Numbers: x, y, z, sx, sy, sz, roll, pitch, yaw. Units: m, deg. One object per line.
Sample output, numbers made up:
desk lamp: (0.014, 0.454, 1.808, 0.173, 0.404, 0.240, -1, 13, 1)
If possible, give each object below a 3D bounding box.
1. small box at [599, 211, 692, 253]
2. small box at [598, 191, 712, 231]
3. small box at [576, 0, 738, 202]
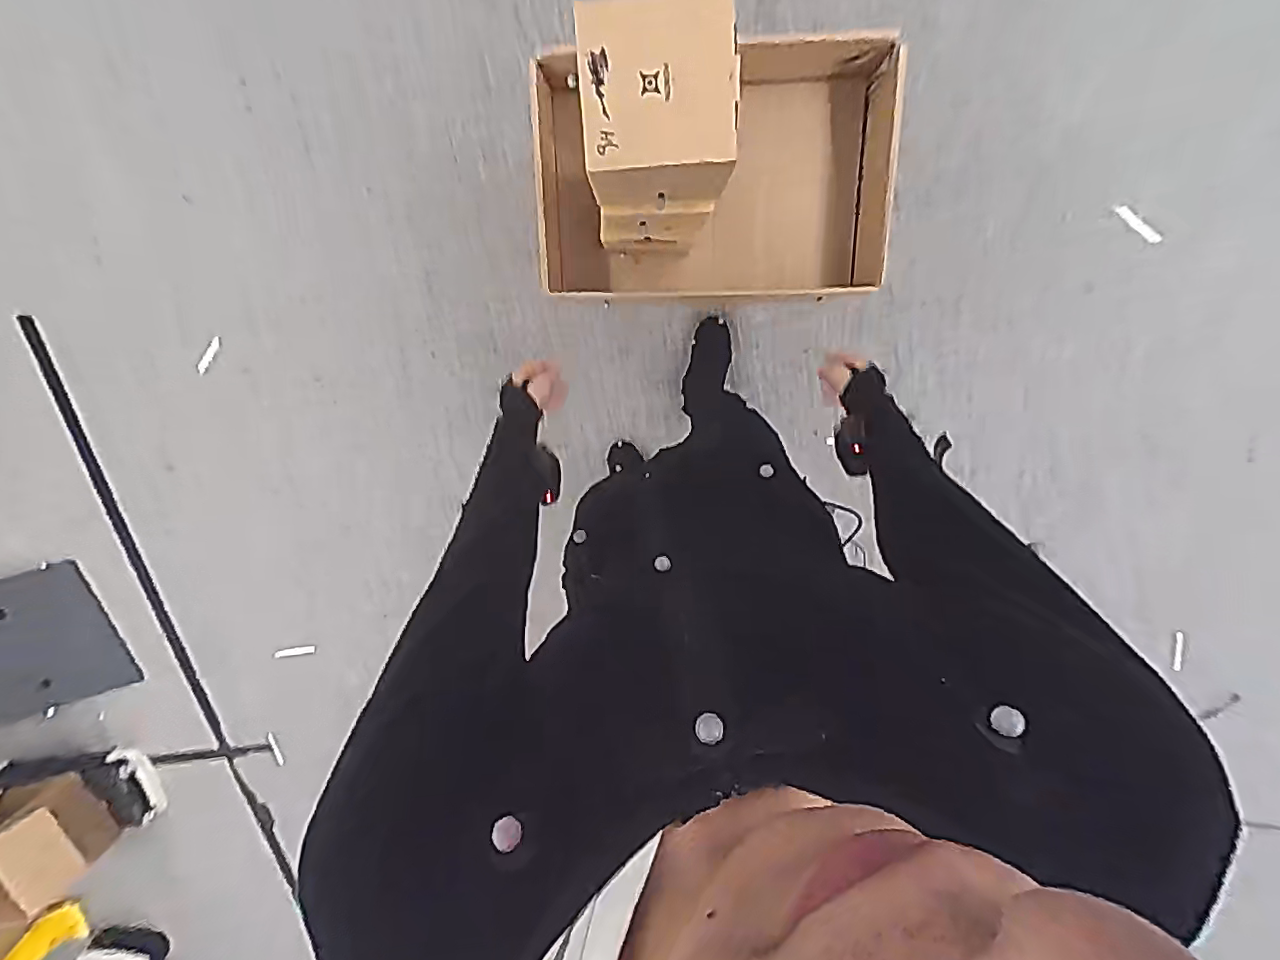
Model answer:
small box: (0.015, -0.520, 0.991, 0.168, 0.176, 0.179, 2, 105, 0)
small box: (0.022, -0.488, 0.831, 0.168, 0.176, 0.179, -2, 104, 1)
small box: (0.020, -0.456, 0.670, 0.179, 0.176, 0.168, -3, 104, 1)
